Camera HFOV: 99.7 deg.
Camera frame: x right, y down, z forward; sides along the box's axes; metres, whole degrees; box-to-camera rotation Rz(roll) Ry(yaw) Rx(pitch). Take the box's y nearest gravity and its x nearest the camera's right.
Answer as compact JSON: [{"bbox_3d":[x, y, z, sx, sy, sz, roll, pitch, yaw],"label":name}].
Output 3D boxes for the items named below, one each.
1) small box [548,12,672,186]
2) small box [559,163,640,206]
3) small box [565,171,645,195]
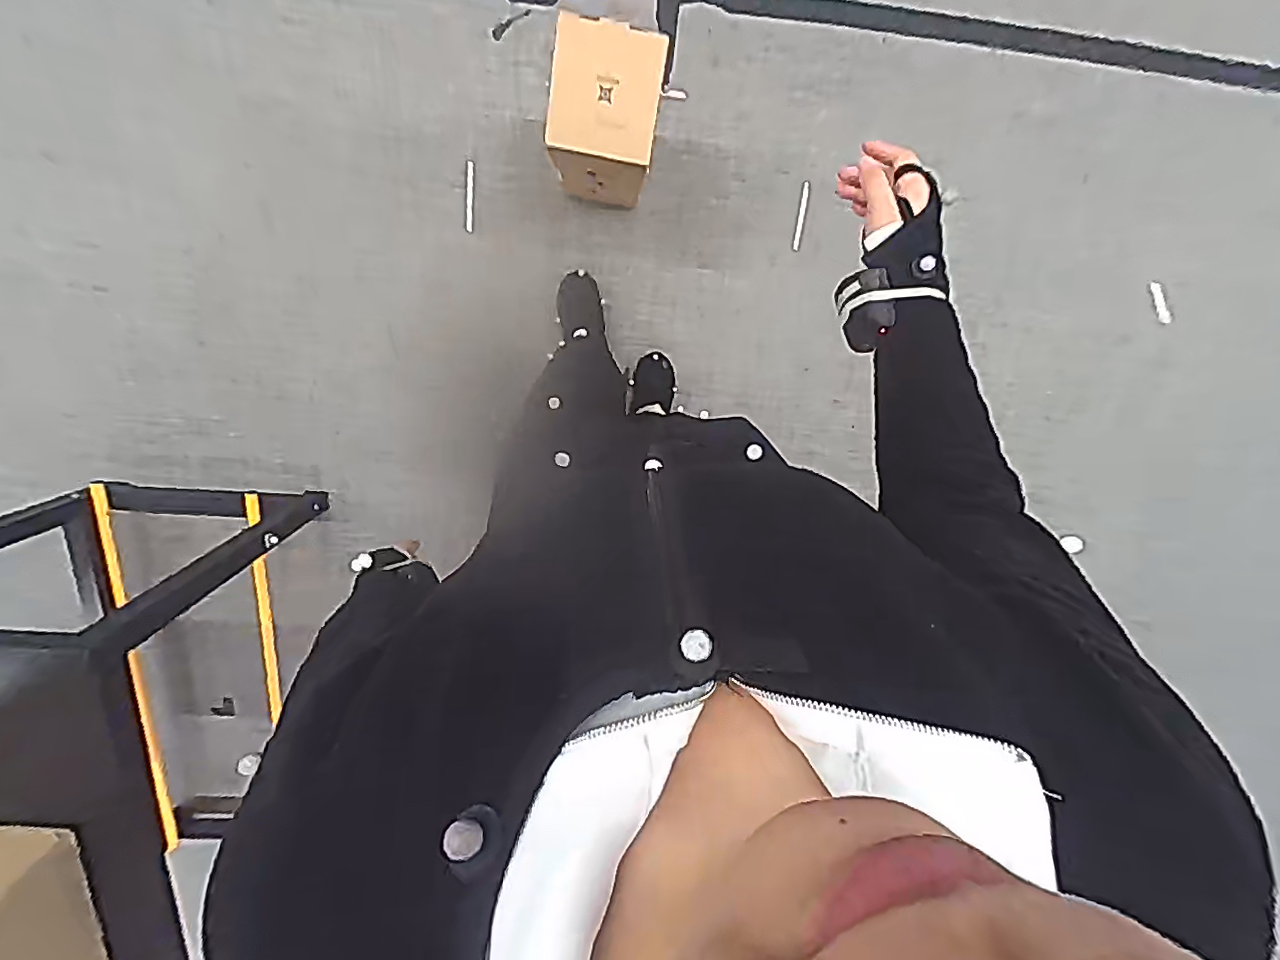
[{"bbox_3d":[-0.051,-0.606,0.885,0.168,0.176,0.179,8,109,-5],"label":"small box"},{"bbox_3d":[-0.076,-0.717,1.192,0.179,0.176,0.168,8,108,-6],"label":"small box"},{"bbox_3d":[-0.059,-0.670,1.035,0.168,0.176,0.179,8,108,-6],"label":"small box"}]
